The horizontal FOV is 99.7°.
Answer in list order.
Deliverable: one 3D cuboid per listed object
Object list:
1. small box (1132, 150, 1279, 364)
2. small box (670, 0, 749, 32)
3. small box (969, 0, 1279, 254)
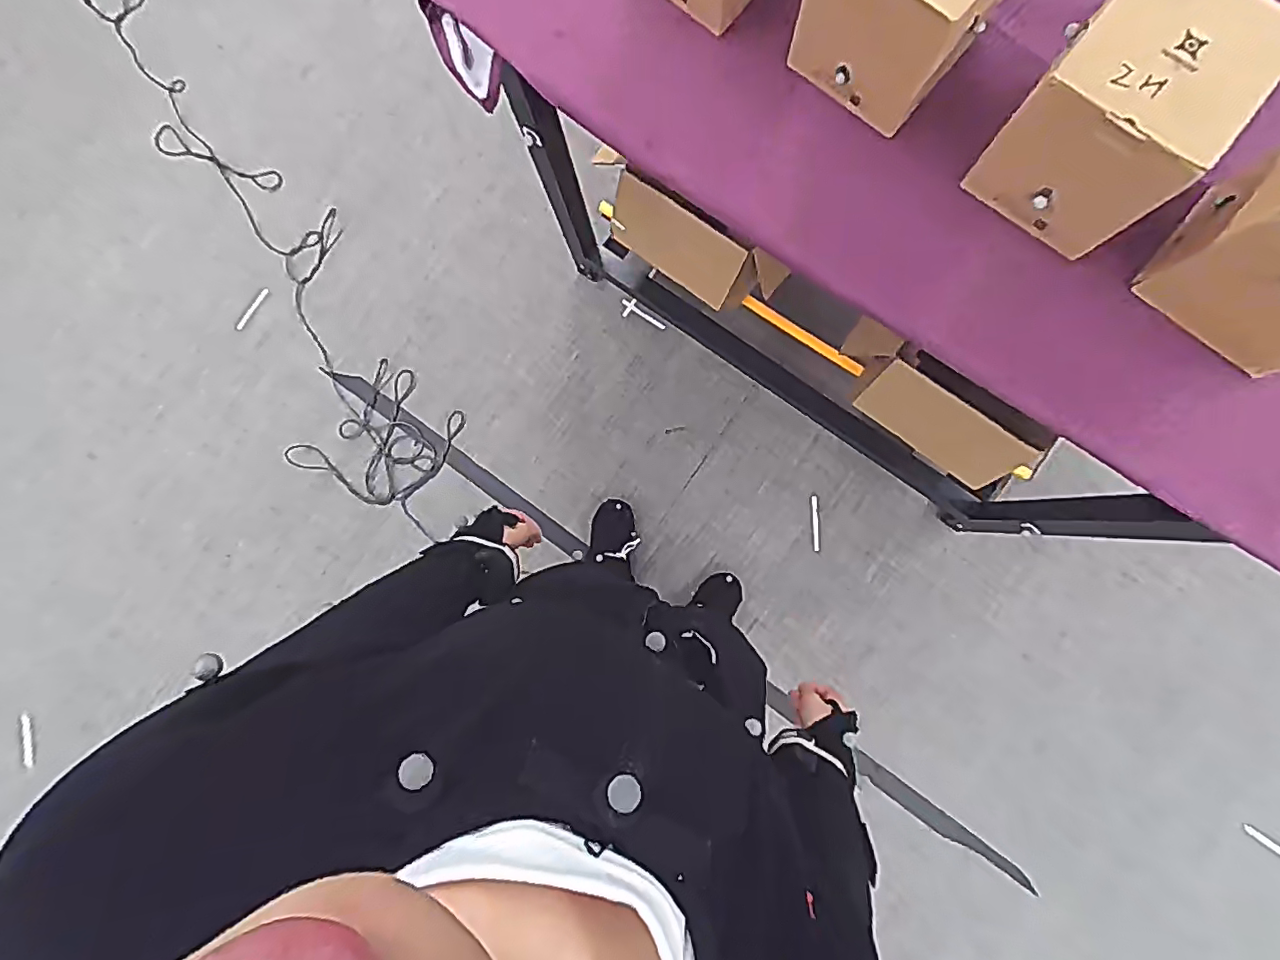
[{"bbox_3d":[0.694,-0.242,0.561,0.179,0.176,0.168,40,88,6],"label":"small box"},{"bbox_3d":[0.091,-0.691,0.622,0.168,0.176,0.179,41,91,5],"label":"small box"},{"bbox_3d":[0.504,-0.389,0.580,0.168,0.176,0.179,38,89,6],"label":"small box"}]
